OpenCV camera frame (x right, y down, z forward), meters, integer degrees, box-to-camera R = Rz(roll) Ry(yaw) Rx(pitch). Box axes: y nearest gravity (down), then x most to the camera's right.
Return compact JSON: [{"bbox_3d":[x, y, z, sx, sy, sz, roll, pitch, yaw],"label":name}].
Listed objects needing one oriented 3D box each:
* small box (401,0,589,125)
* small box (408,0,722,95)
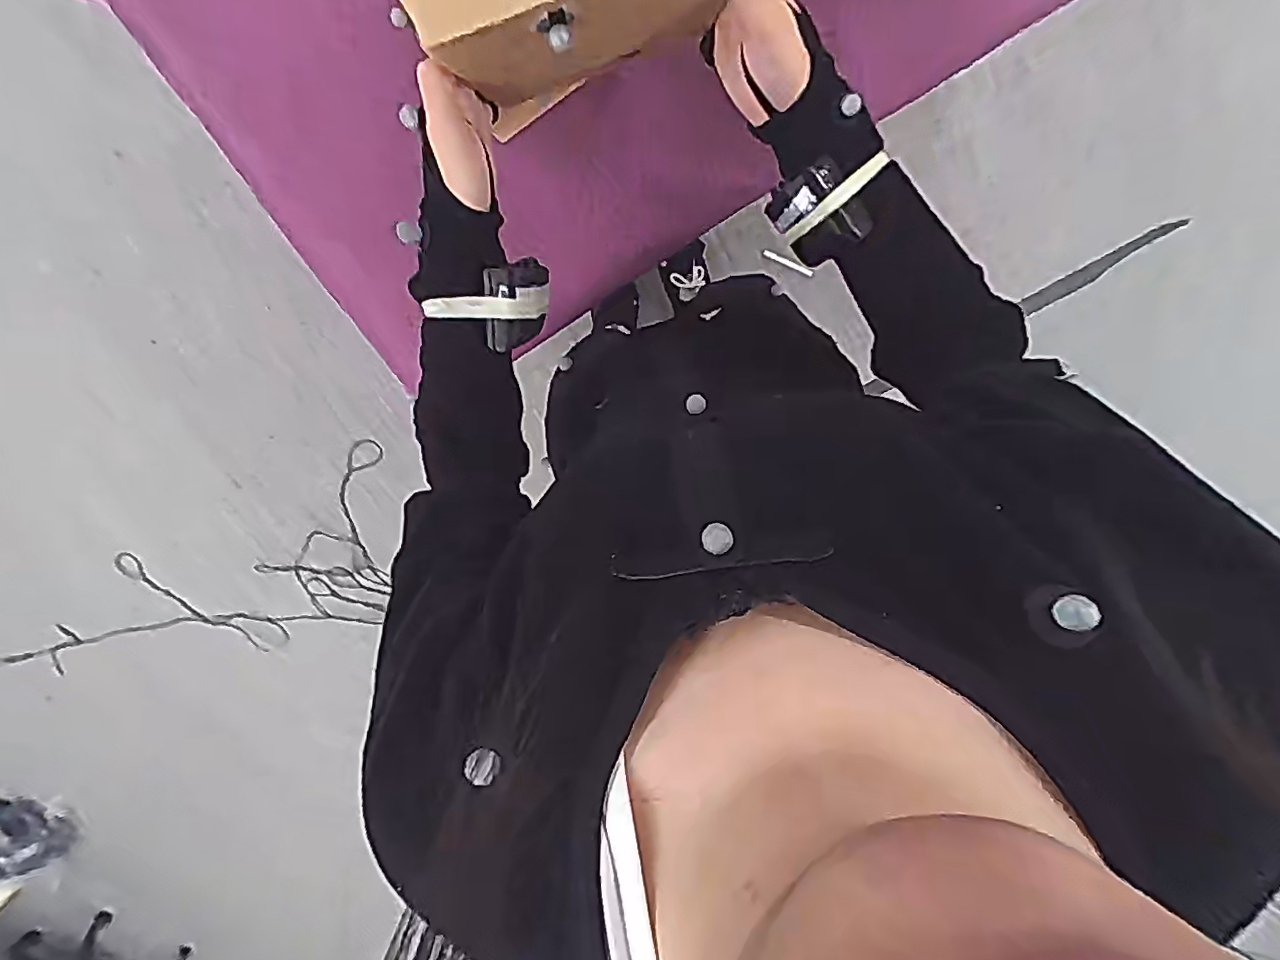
[{"bbox_3d":[-0.129,-0.464,0.499,0.168,0.176,0.179,-31,109,10],"label":"small box"},{"bbox_3d":[-0.047,-0.337,0.279,0.168,0.176,0.179,-14,116,7],"label":"small box"}]
